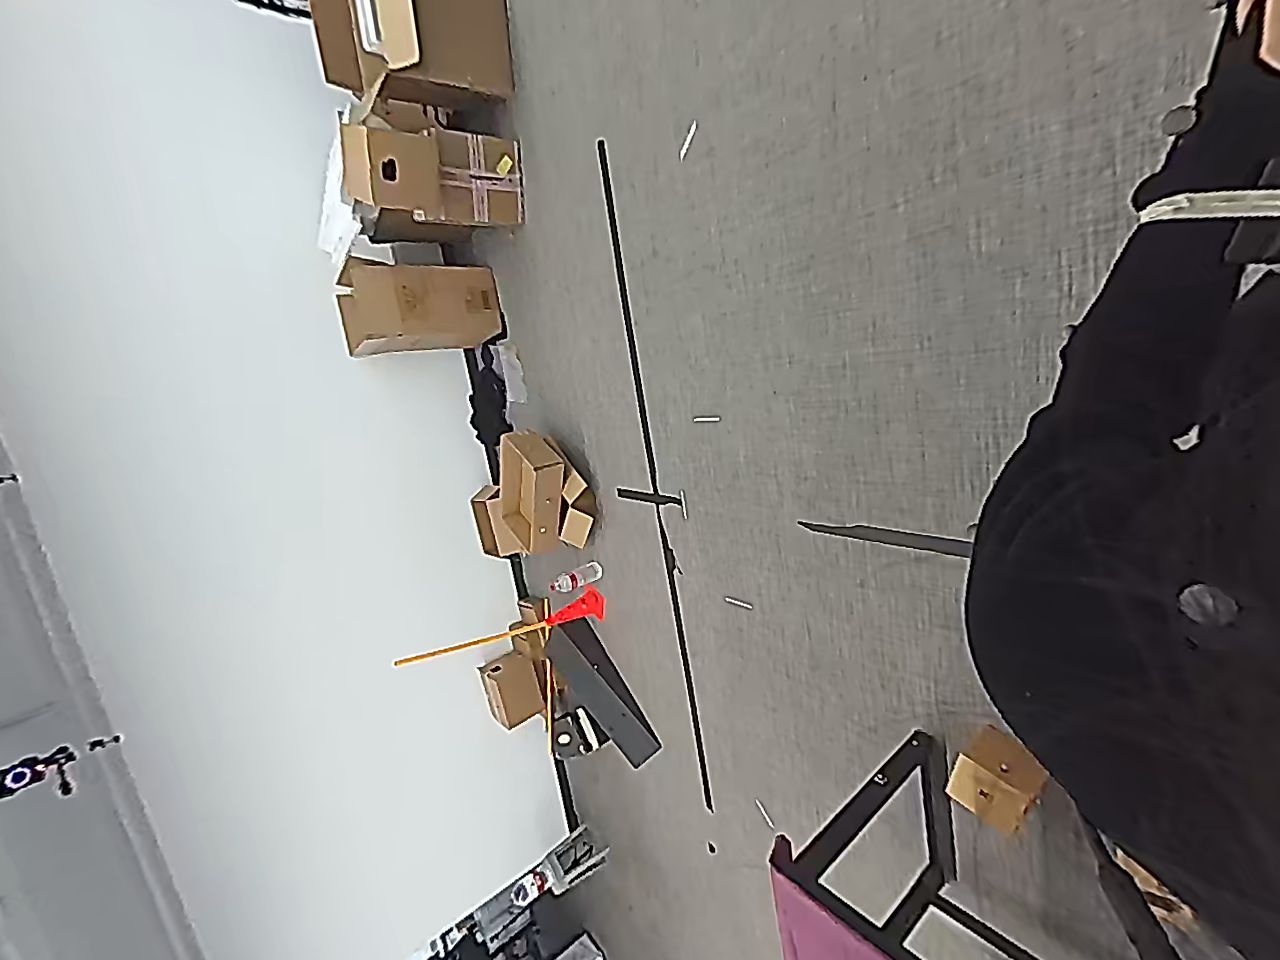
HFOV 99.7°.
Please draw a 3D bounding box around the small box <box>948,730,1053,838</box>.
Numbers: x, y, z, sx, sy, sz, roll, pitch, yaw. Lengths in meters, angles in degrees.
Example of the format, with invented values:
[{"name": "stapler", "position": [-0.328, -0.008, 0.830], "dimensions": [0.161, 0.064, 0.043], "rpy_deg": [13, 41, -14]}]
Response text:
[{"name": "small box", "position": [1.005, 0.834, 1.510], "dimensions": [0.179, 0.176, 0.168], "rpy_deg": [28, 125, 44]}]
